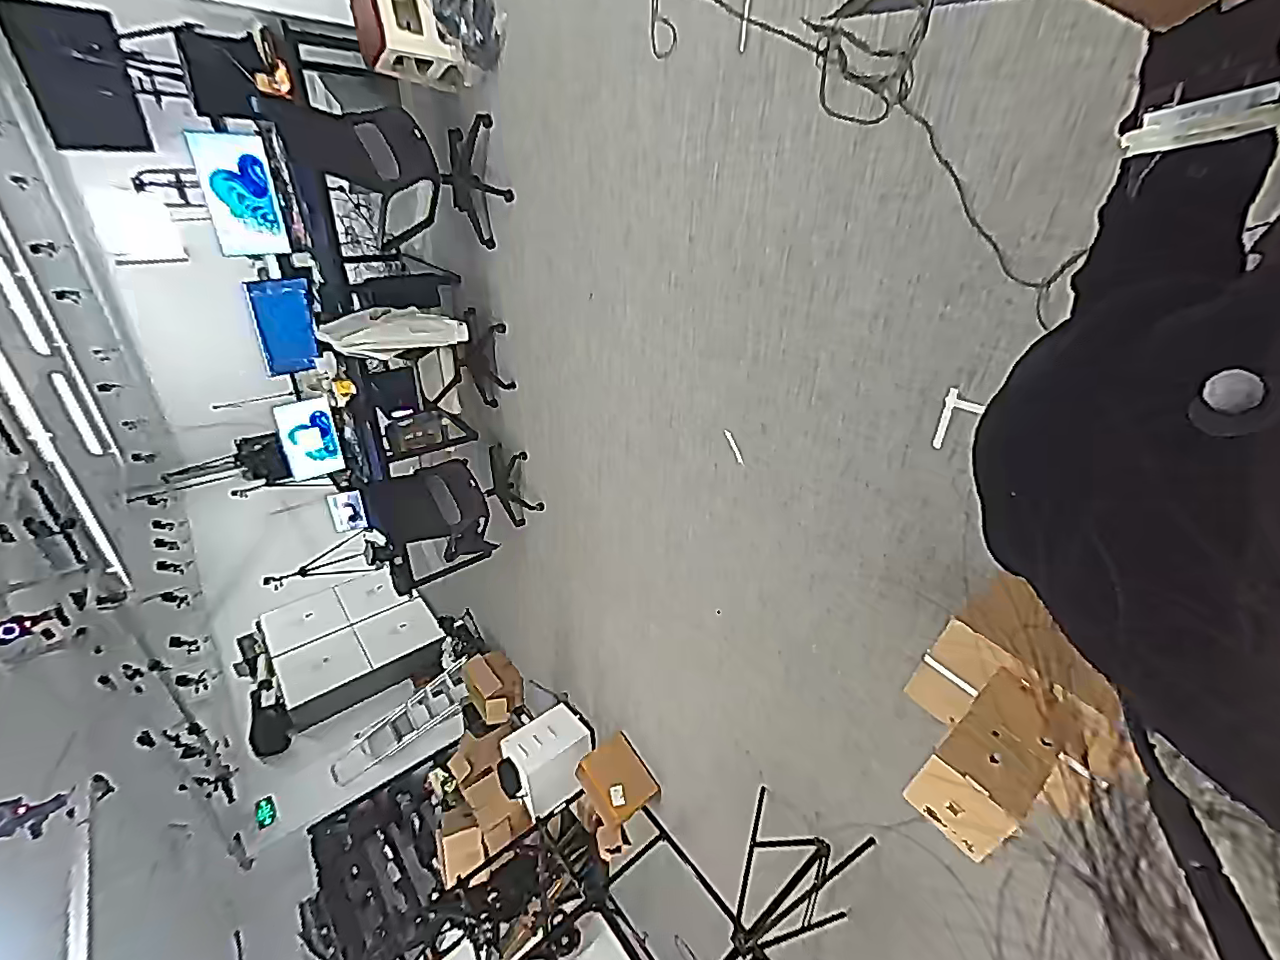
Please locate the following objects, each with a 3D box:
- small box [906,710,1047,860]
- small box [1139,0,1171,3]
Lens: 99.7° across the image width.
[{"bbox_3d":[0.688,0.612,1.104,0.168,0.176,0.179,38,135,37],"label":"small box"},{"bbox_3d":[0.258,-0.323,0.194,0.168,0.176,0.179,-11,100,55],"label":"small box"}]
